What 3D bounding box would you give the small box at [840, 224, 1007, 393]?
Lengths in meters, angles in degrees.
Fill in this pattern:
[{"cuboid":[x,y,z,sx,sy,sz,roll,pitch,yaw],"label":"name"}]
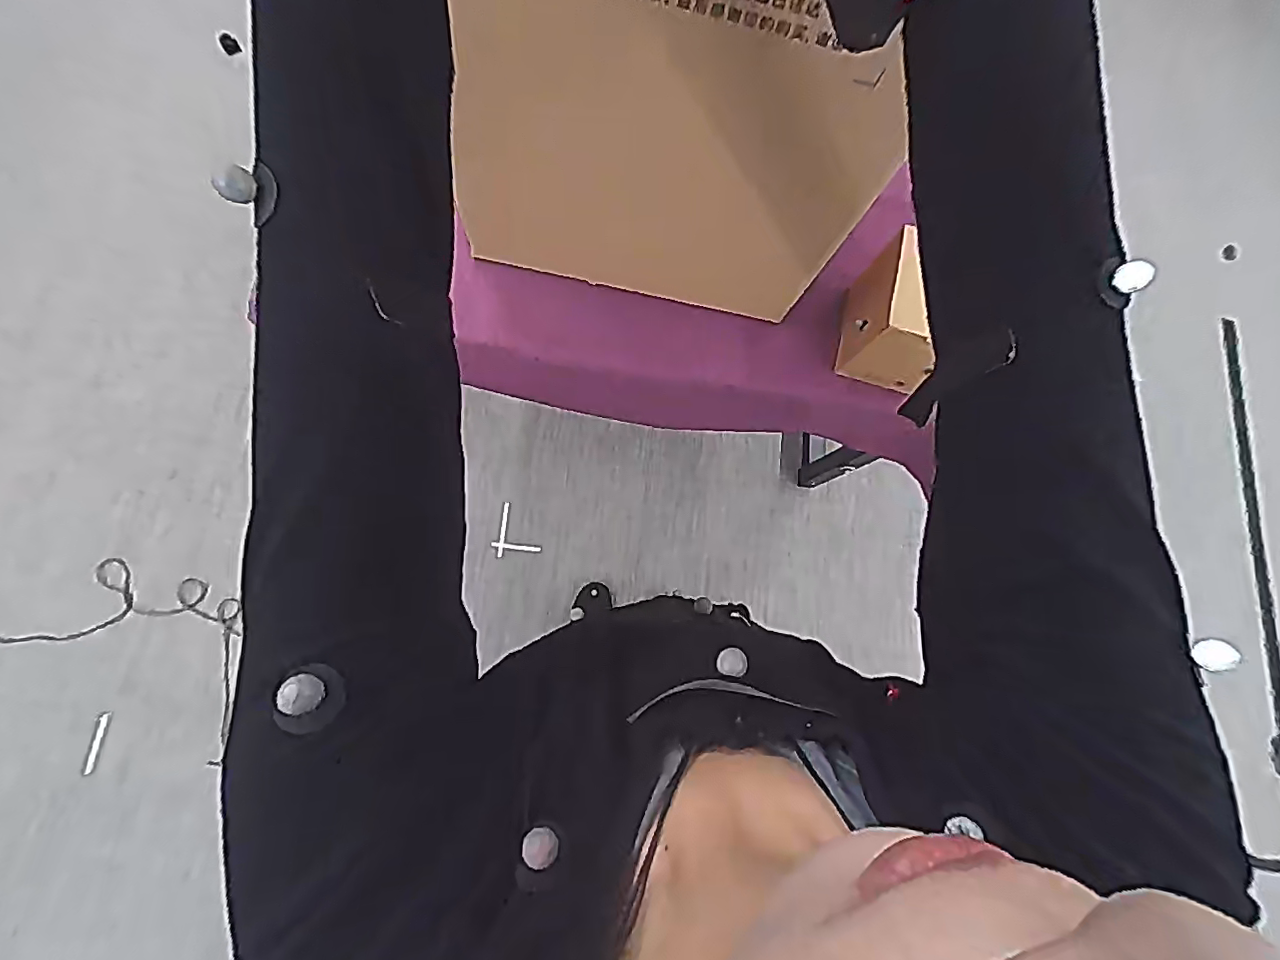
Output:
[{"cuboid":[0.439,-0.260,0.859,0.168,0.176,0.179,15,76,-4],"label":"small box"}]
